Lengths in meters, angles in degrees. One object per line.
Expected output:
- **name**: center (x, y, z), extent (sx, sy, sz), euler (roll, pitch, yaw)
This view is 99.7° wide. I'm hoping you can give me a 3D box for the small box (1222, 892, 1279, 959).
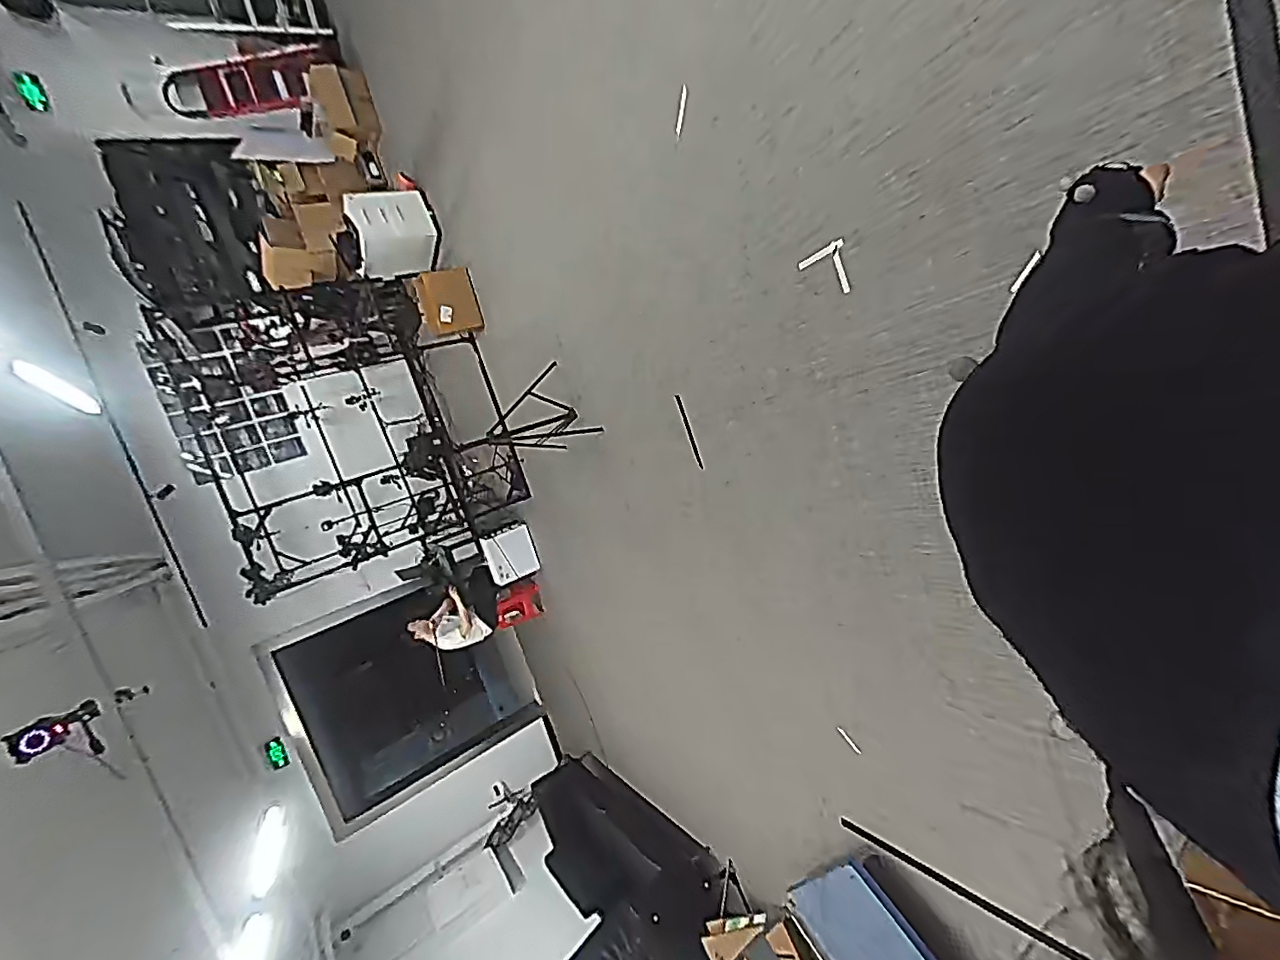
- **small box**: center (1.432, 1.066, 1.183), extent (0.168, 0.176, 0.179), euler (-14, 98, 60)
